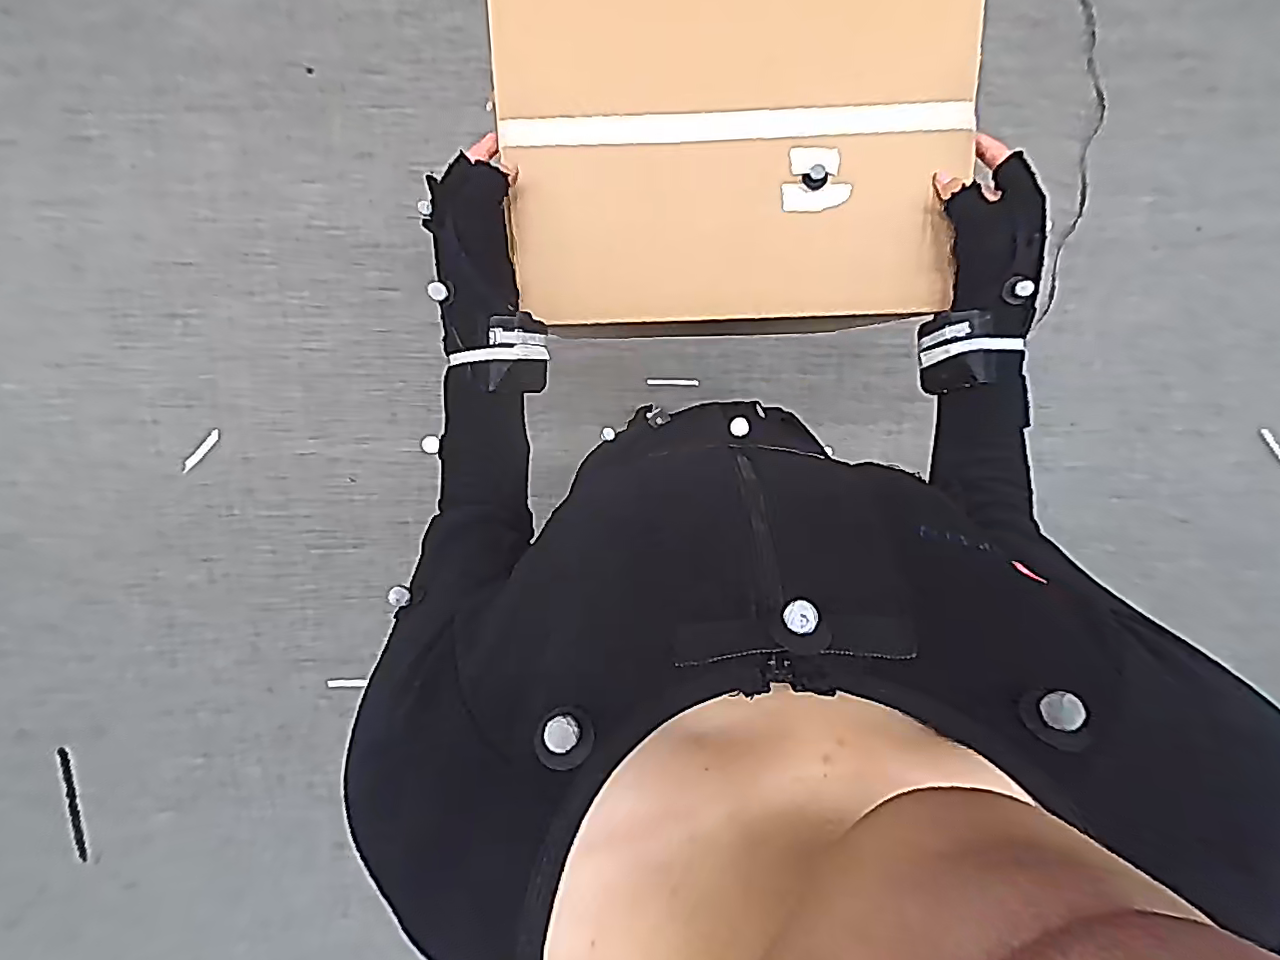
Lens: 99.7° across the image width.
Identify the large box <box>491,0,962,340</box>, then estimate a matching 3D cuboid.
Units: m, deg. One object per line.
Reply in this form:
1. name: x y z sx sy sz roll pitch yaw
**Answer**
1. large box: 0.075 -0.337 0.619 0.408 0.320 0.320 -2 102 0
